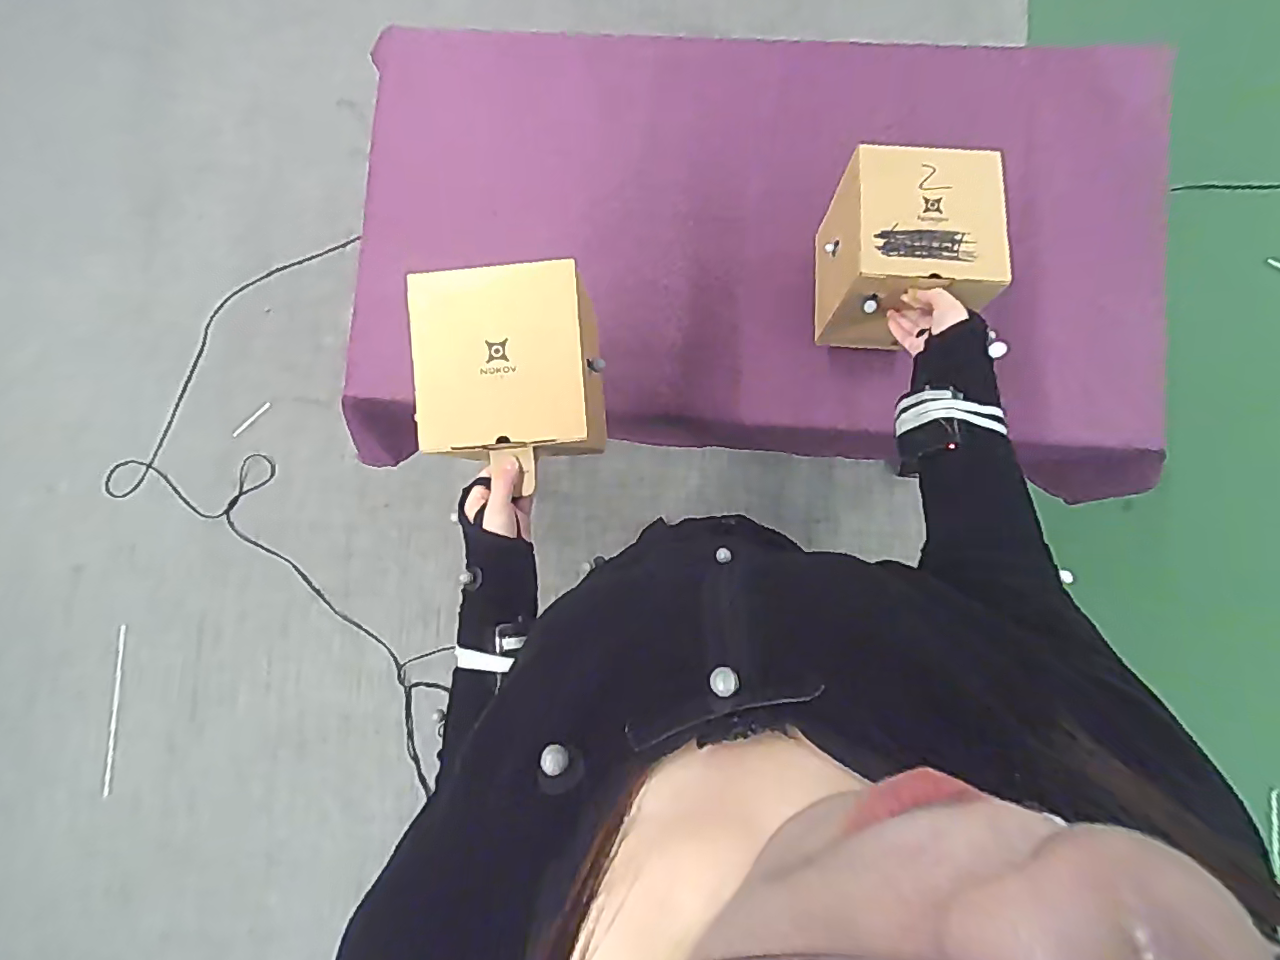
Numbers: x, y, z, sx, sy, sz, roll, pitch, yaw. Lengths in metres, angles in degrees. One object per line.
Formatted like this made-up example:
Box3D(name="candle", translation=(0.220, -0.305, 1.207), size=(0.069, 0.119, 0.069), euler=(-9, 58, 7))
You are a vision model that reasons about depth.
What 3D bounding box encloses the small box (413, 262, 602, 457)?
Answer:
Box3D(name="small box", translation=(-0.137, -0.122, 0.613), size=(0.168, 0.176, 0.179), euler=(-4, 90, 2))
